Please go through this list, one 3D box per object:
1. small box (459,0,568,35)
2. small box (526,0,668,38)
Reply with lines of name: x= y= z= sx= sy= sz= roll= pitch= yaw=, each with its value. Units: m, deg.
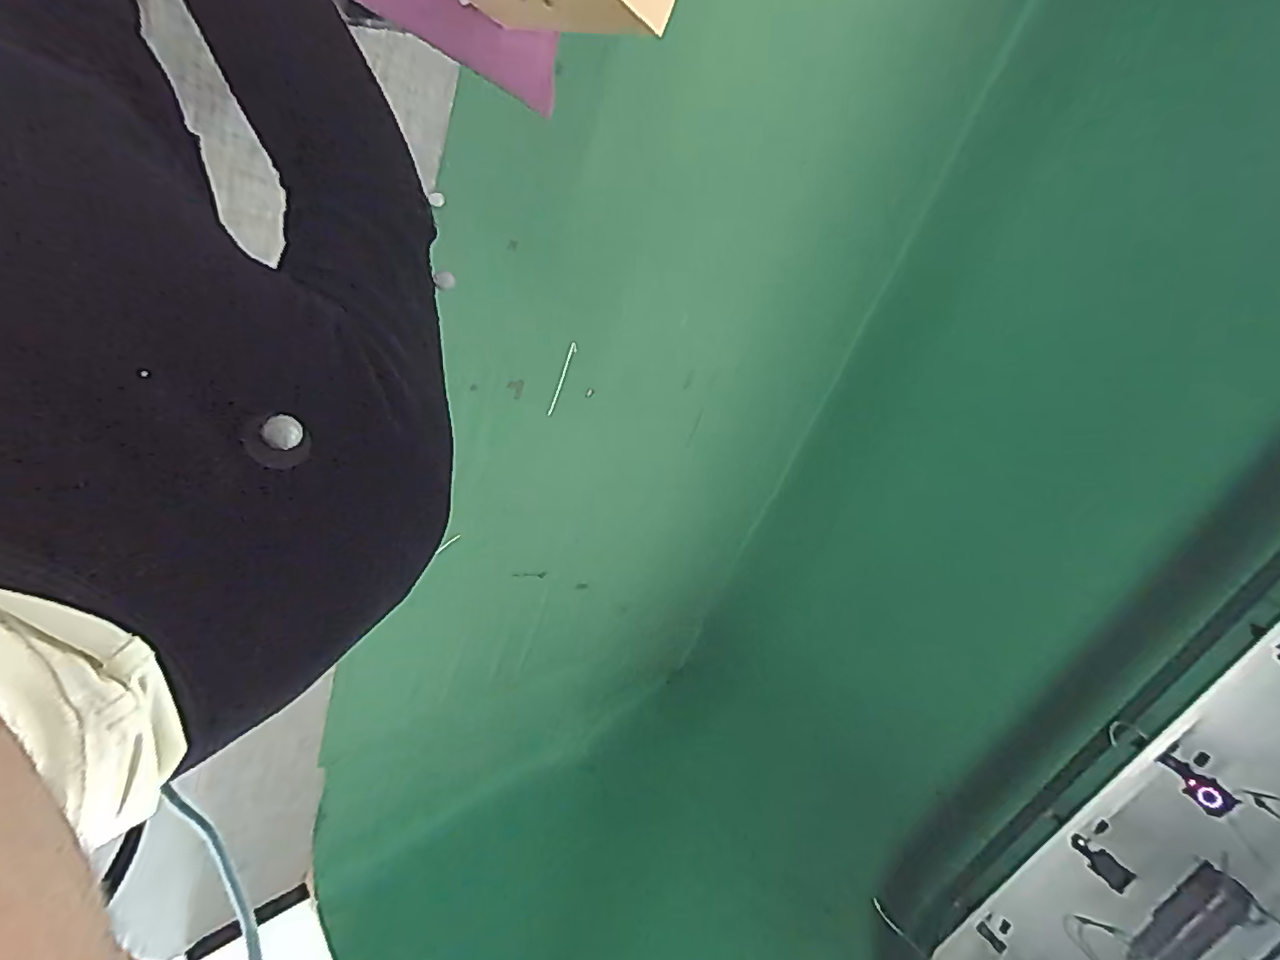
small box: x=-0.170 y=-0.674 z=0.638 sx=0.179 sy=0.176 sz=0.168 roll=-1 pitch=119 yaw=-50
small box: x=-0.059 y=-0.597 z=0.547 sx=0.168 sy=0.176 sz=0.179 roll=1 pitch=120 yaw=-49
